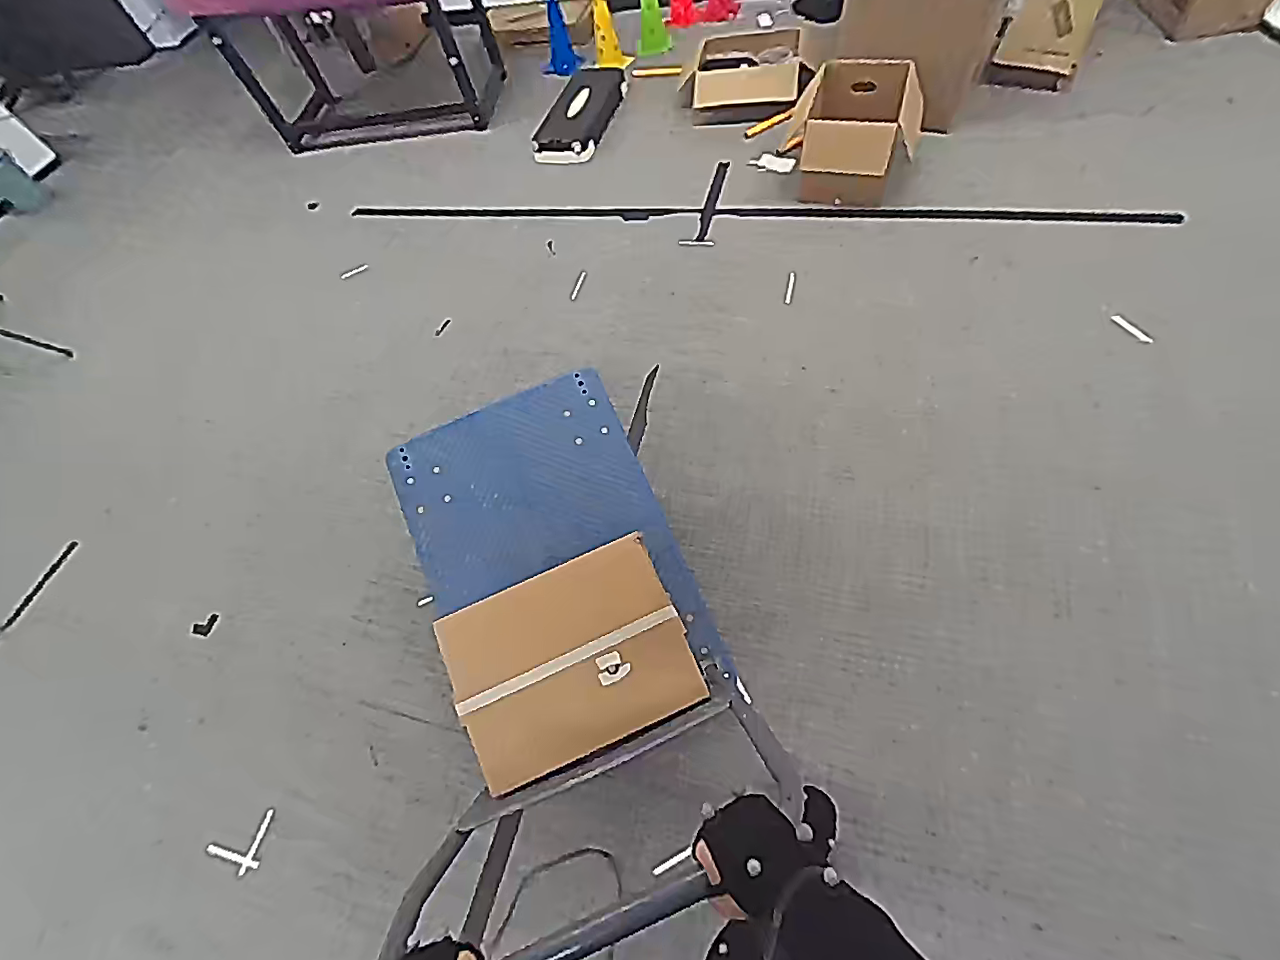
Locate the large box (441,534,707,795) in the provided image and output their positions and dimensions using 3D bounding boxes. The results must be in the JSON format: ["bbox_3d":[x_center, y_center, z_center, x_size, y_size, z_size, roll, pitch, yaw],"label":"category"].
[{"bbox_3d":[-0.120,0.355,1.105,0.408,0.320,0.320,-25,77,-5],"label":"large box"}]
